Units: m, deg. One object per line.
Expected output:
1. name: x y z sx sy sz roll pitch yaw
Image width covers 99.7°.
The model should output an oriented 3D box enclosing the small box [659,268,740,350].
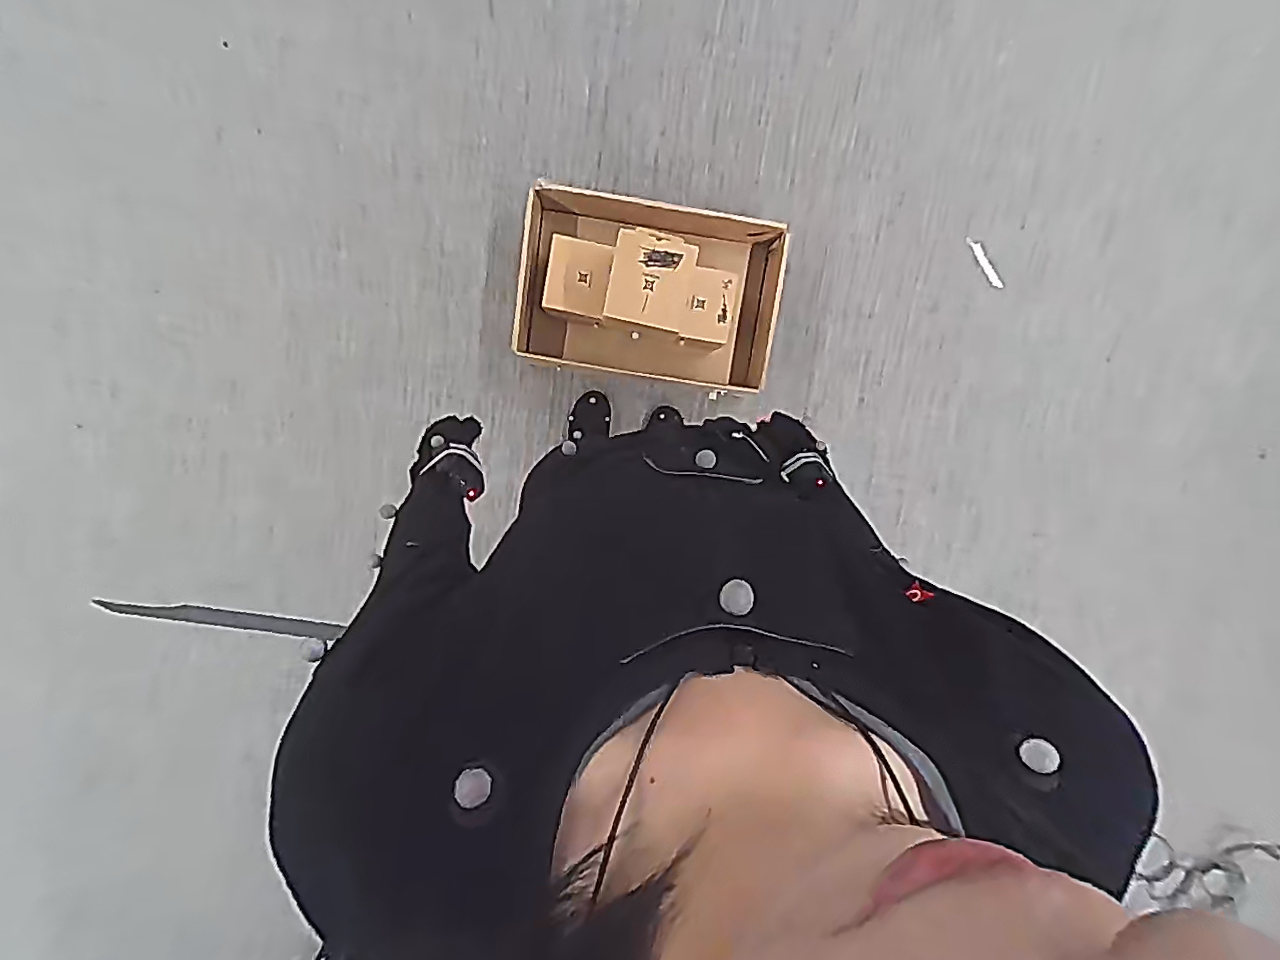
1. small box: 0.136 -0.422 1.343 0.179 0.176 0.168 8 98 -1

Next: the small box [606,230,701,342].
1. small box: 0.023 -0.410 1.173 0.168 0.176 0.179 12 98 -4

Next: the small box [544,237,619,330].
1. small box: -0.125 -0.471 1.323 0.179 0.176 0.168 11 97 -4
